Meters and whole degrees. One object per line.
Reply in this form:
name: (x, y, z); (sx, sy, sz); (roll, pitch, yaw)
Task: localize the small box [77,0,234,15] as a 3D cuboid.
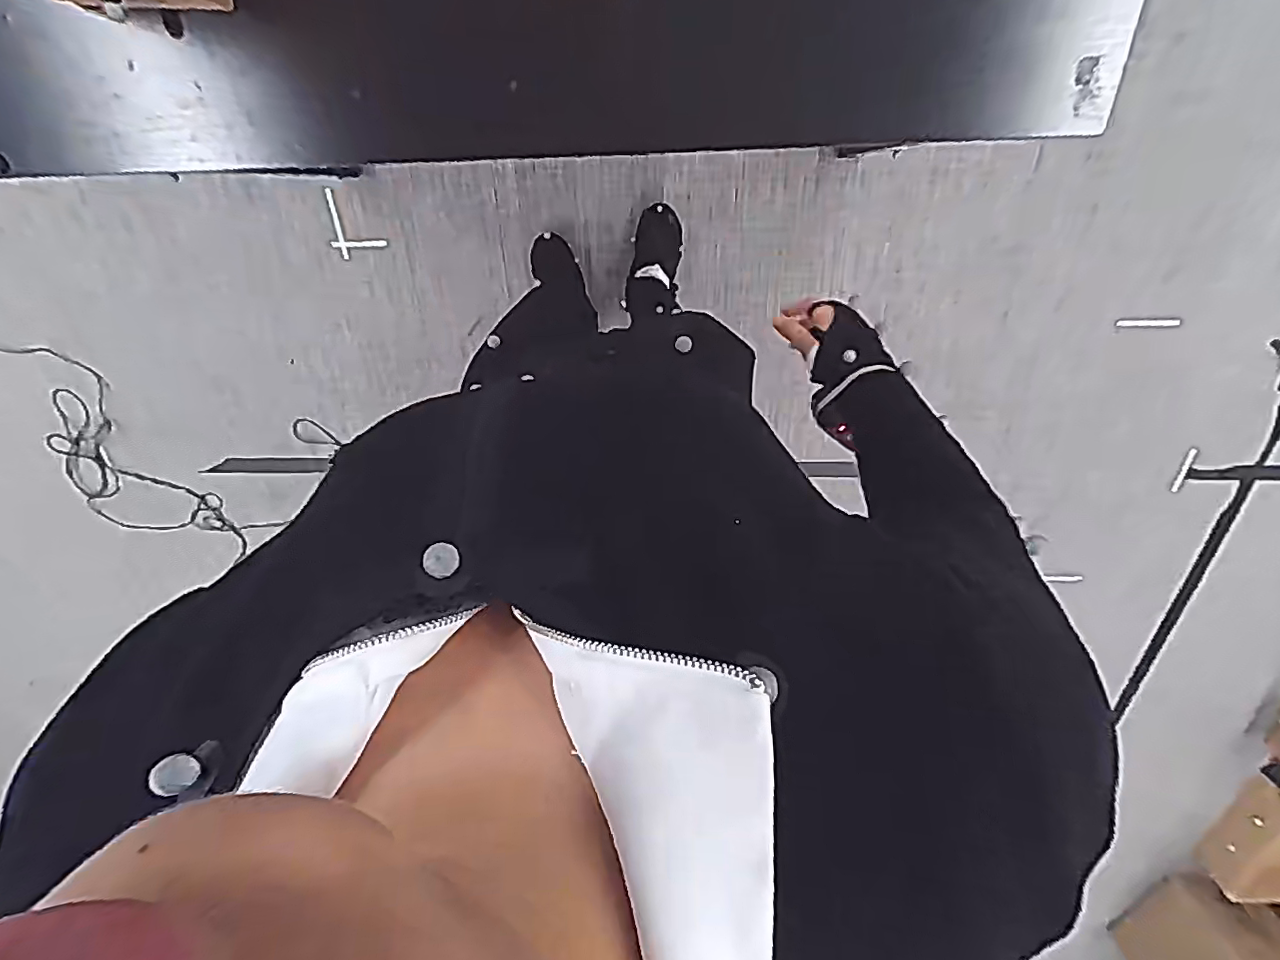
small box: (-0.474, -0.502, 0.421); (0.168, 0.176, 0.179); (2, 119, 1)
